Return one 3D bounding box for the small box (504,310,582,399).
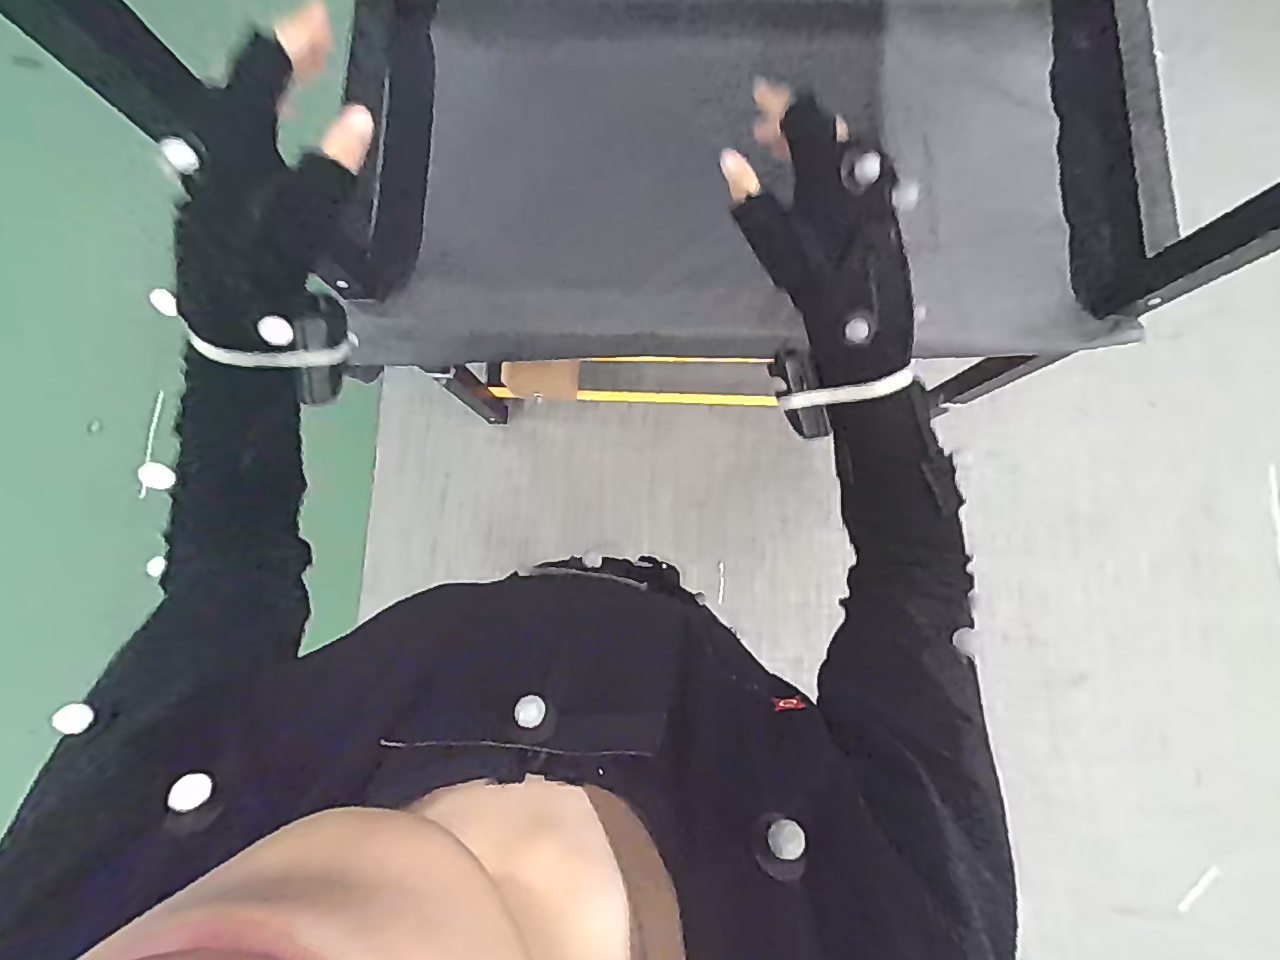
[{"bbox_3d":[-0.243,-0.316,1.383,0.168,0.176,0.179,1,84,1],"label":"small box"}]
